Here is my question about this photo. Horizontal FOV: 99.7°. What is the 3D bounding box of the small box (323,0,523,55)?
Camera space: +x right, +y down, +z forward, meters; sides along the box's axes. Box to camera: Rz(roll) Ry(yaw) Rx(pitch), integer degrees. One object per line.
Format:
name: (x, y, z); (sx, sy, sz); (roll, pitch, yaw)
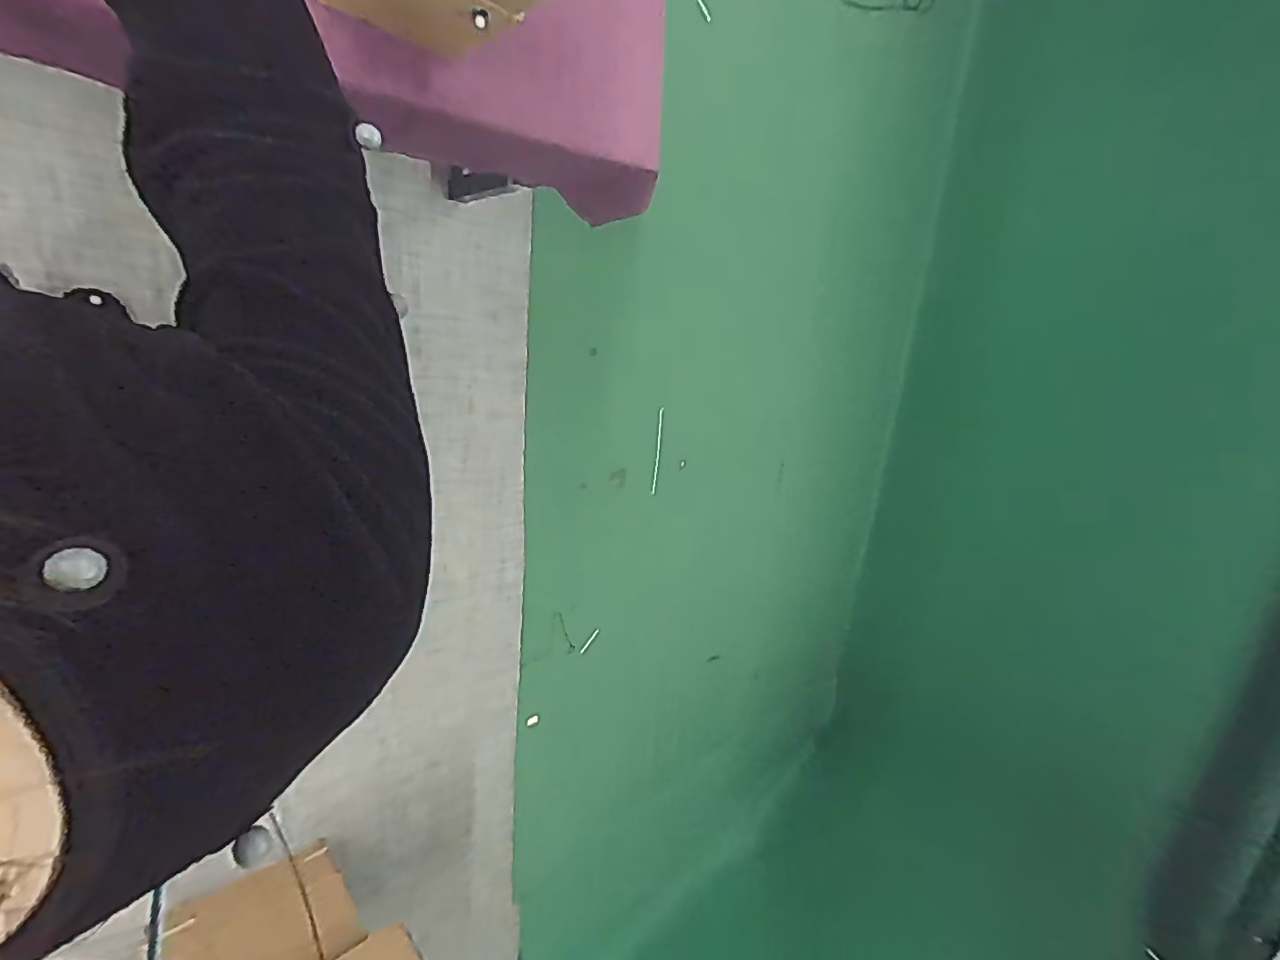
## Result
small box: (-0.246, -0.607, 0.588); (0.179, 0.176, 0.168); (-11, 111, -44)
